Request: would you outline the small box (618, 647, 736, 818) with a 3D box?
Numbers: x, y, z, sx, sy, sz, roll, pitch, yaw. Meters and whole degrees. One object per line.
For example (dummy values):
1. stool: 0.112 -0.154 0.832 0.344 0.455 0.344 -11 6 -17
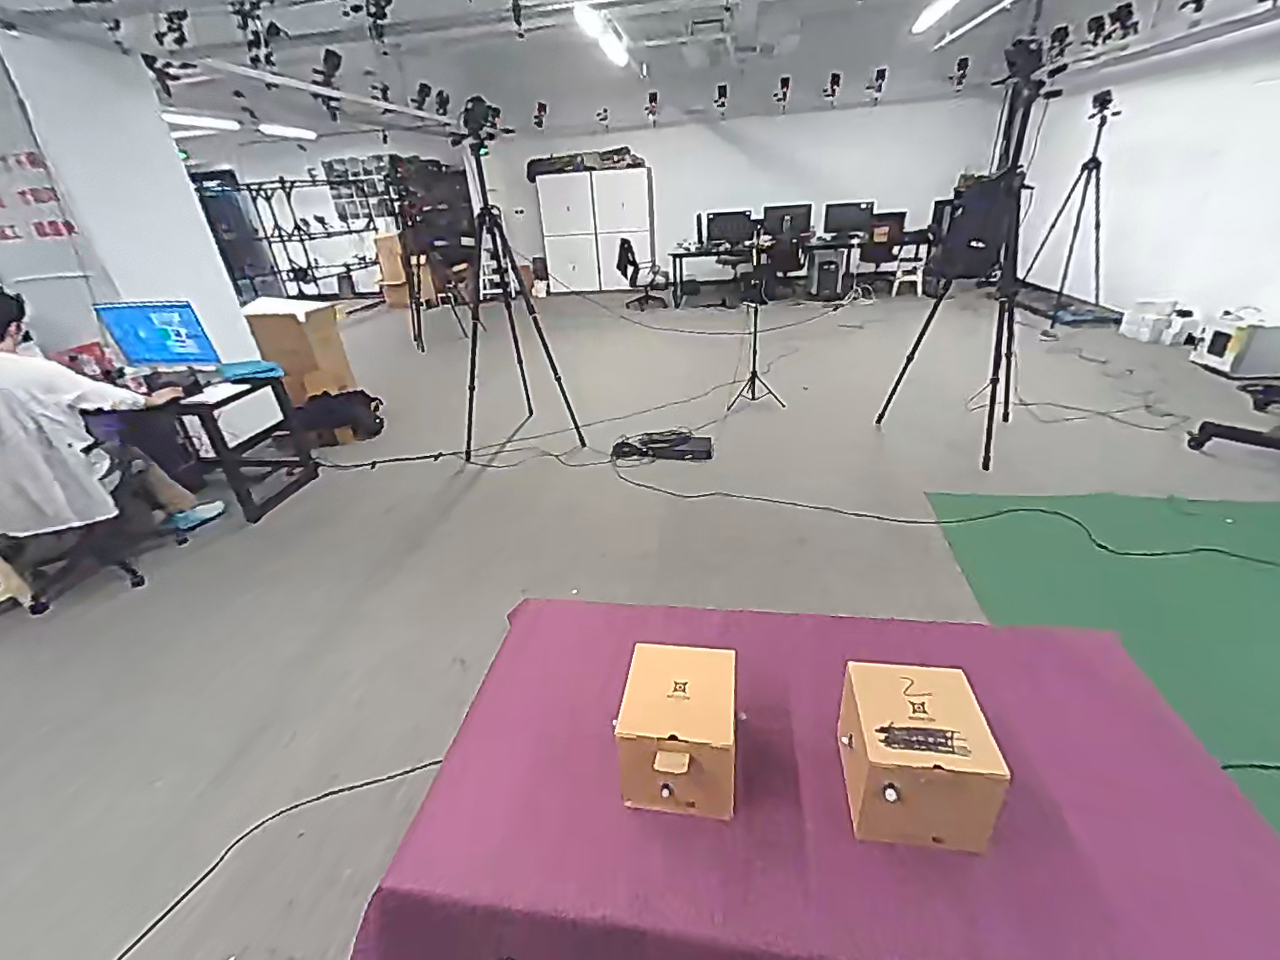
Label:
1. small box: 0.066 0.396 0.864 0.168 0.176 0.179 1 29 10
